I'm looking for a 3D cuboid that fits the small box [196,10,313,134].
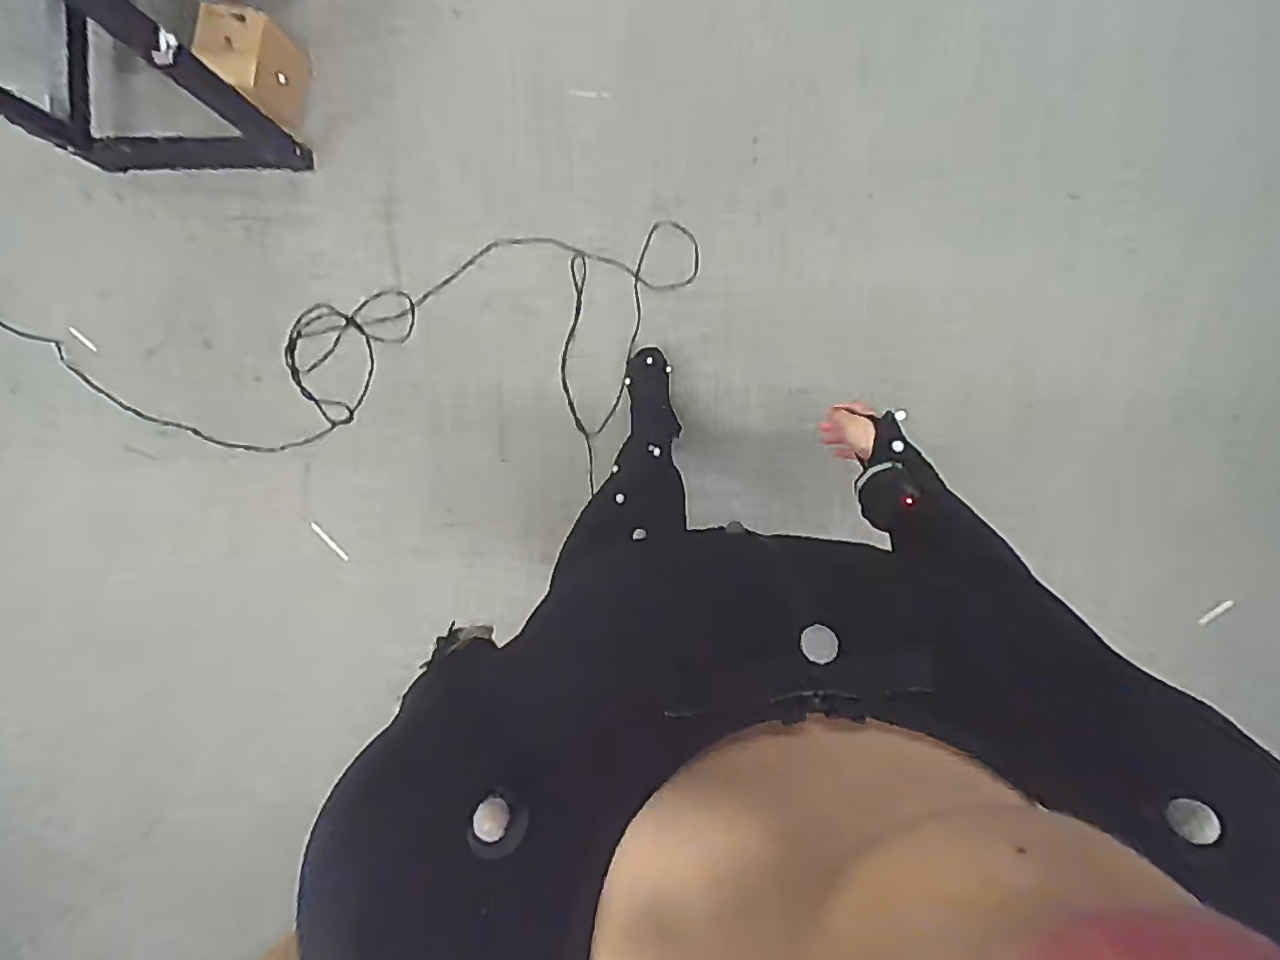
[{"bbox_3d":[-0.965,-1.020,1.368,0.168,0.176,0.179,14,95,1],"label":"small box"}]
